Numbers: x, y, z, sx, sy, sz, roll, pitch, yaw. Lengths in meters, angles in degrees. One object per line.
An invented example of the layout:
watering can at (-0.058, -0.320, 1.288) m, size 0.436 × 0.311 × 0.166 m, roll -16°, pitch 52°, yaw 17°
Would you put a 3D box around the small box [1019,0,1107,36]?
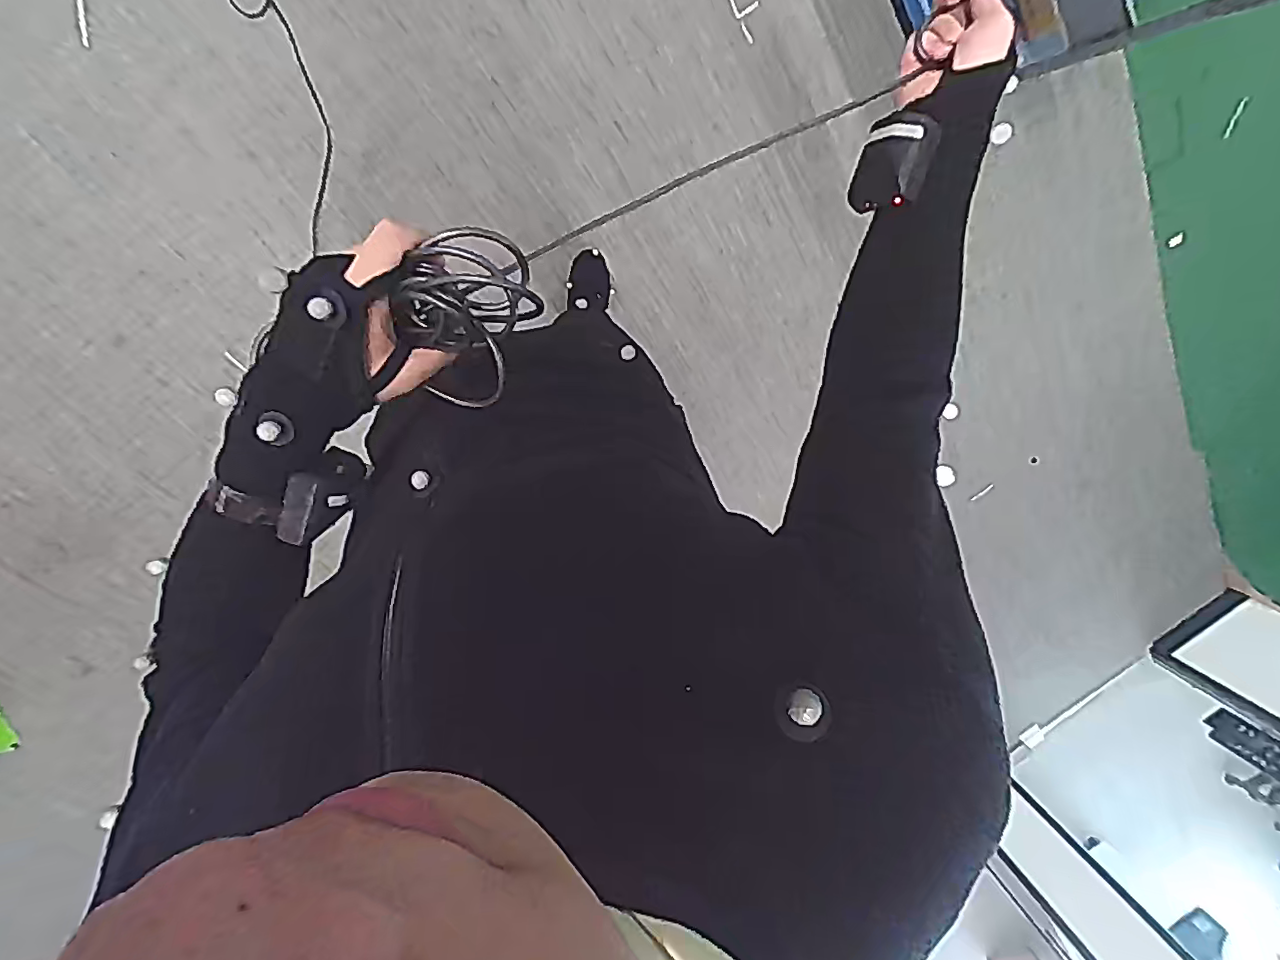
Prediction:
small box at (1.000, -1.168, 1.222) m, size 0.179 × 0.176 × 0.168 m, roll -37°, pitch 114°, yaw 4°
